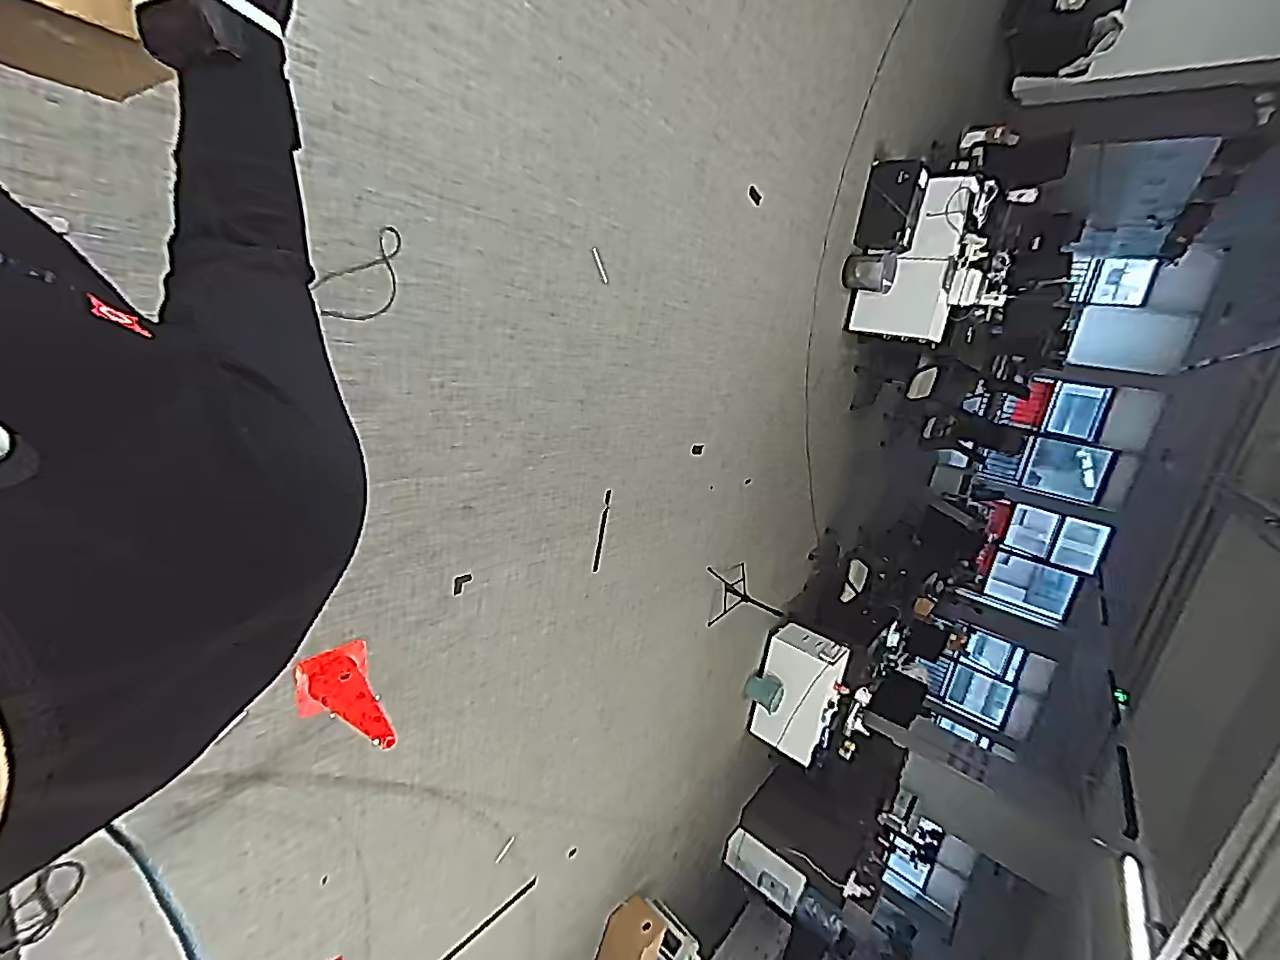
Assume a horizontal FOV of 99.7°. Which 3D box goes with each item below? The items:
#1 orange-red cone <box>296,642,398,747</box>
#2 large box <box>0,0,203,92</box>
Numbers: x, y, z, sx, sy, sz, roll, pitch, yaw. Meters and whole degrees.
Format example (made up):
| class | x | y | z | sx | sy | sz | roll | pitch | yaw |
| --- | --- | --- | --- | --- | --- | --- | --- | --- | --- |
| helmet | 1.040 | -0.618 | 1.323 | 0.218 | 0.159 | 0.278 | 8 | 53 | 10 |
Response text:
| class | x | y | z | sx | sy | sz | roll | pitch | yaw |
| --- | --- | --- | --- | --- | --- | --- | --- | --- | --- |
| orange-red cone | -0.800 | 0.649 | 1.541 | 0.198 | 0.360 | 0.199 | -14 | 115 | -50 |
| large box | -0.535 | -0.476 | 0.287 | 0.408 | 0.320 | 0.320 | -10 | 117 | -51 |
